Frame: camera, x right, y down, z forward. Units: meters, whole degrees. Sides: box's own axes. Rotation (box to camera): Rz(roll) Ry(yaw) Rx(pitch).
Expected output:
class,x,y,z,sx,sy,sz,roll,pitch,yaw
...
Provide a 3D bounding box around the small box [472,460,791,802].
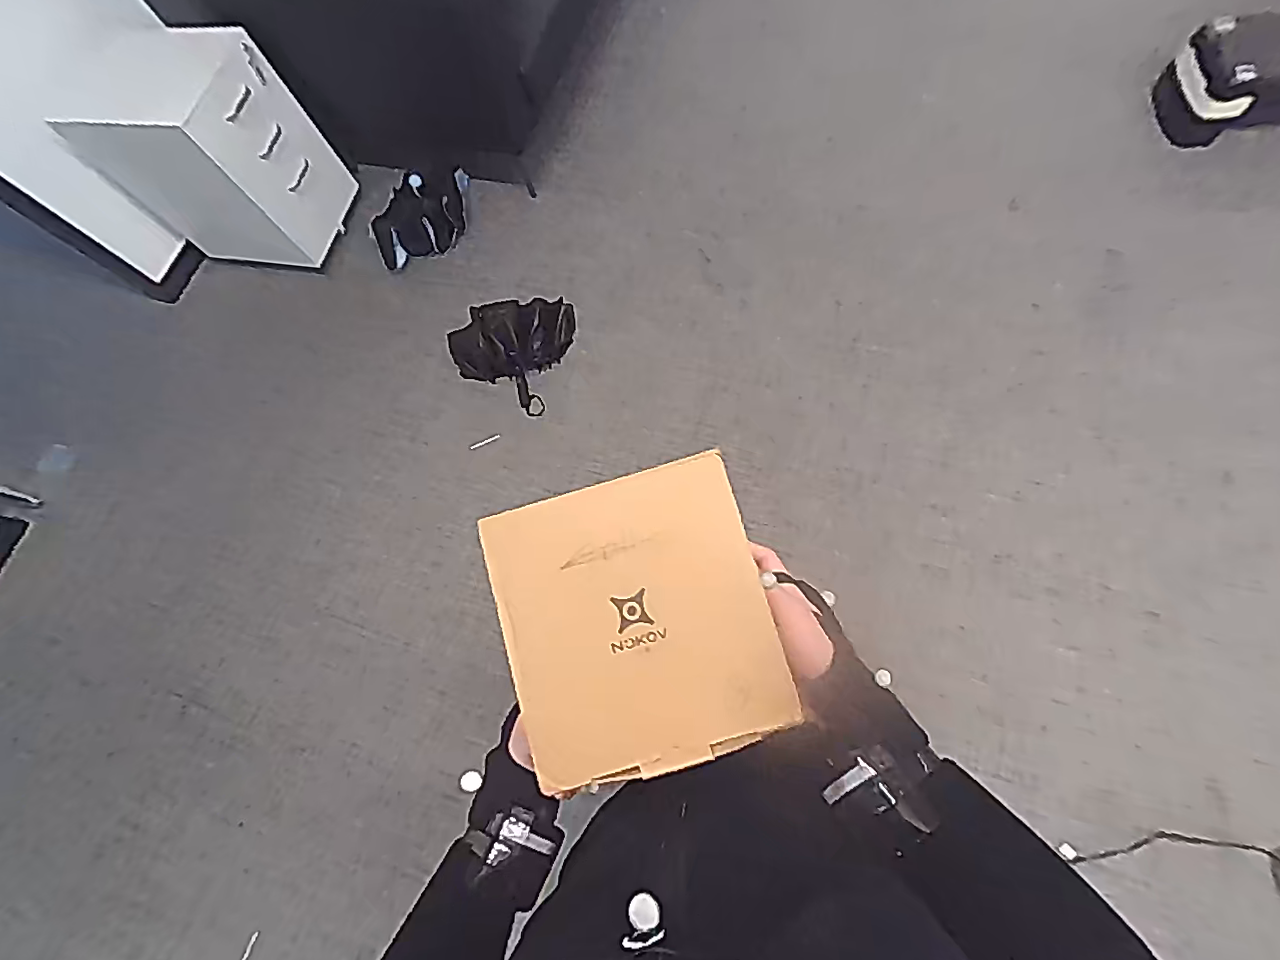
class,x,y,z,sx,sy,sz,roll,pitch,yaw
small box,-0.004,0.103,0.415,0.168,0.176,0.179,-17,79,0
